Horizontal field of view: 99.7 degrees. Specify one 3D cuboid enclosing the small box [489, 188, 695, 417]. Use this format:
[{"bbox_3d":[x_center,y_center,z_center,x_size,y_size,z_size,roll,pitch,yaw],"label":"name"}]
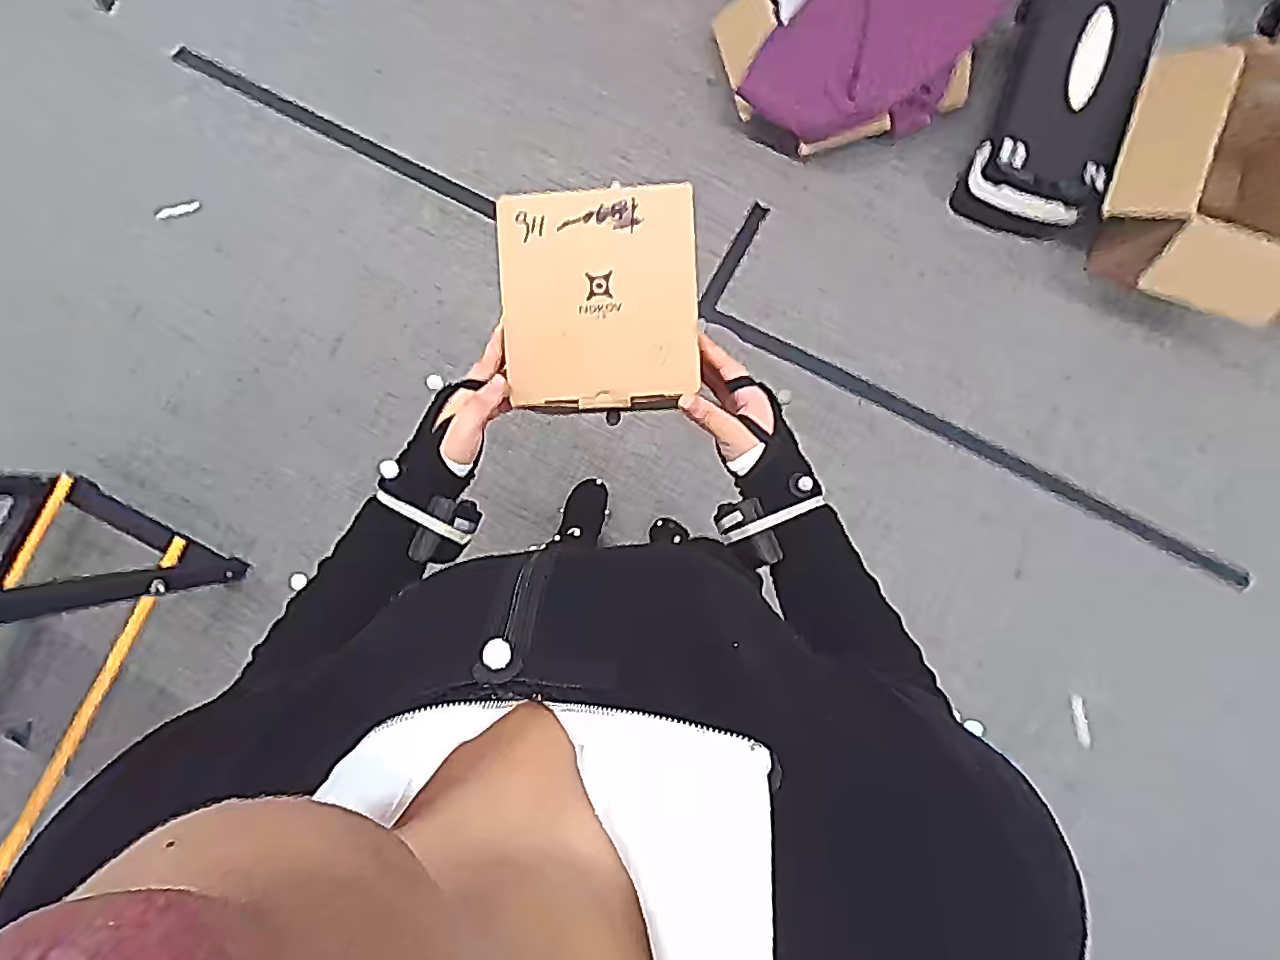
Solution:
[{"bbox_3d":[-0.034,-0.153,0.528,0.168,0.176,0.179,-4,95,3],"label":"small box"}]
